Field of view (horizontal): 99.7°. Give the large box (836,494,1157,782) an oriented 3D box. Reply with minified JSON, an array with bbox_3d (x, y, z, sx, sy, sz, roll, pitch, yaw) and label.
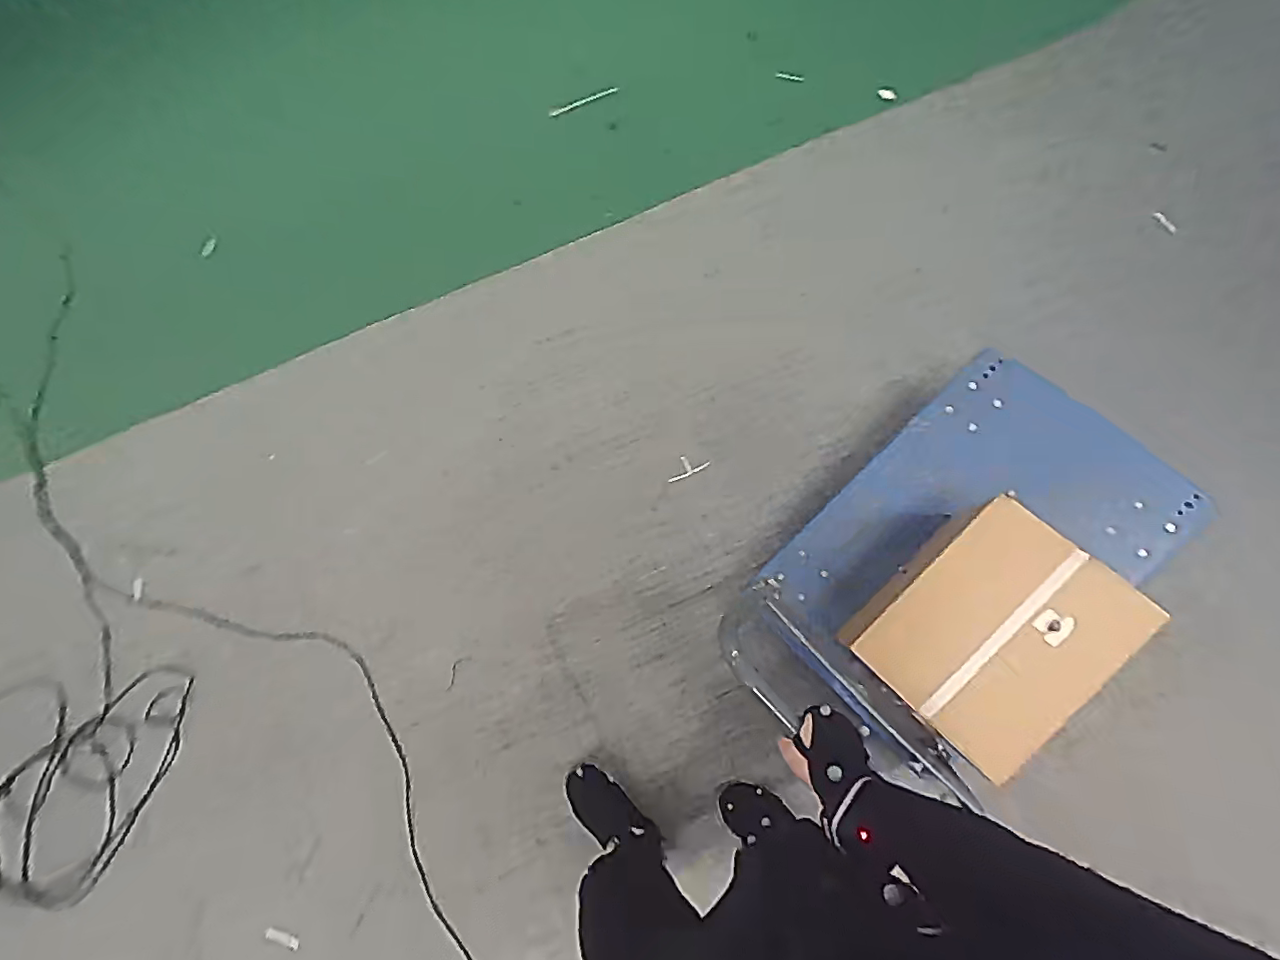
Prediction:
[{"bbox_3d":[0.658,0.298,1.086,0.408,0.320,0.320,-46,72,1],"label":"large box"}]
